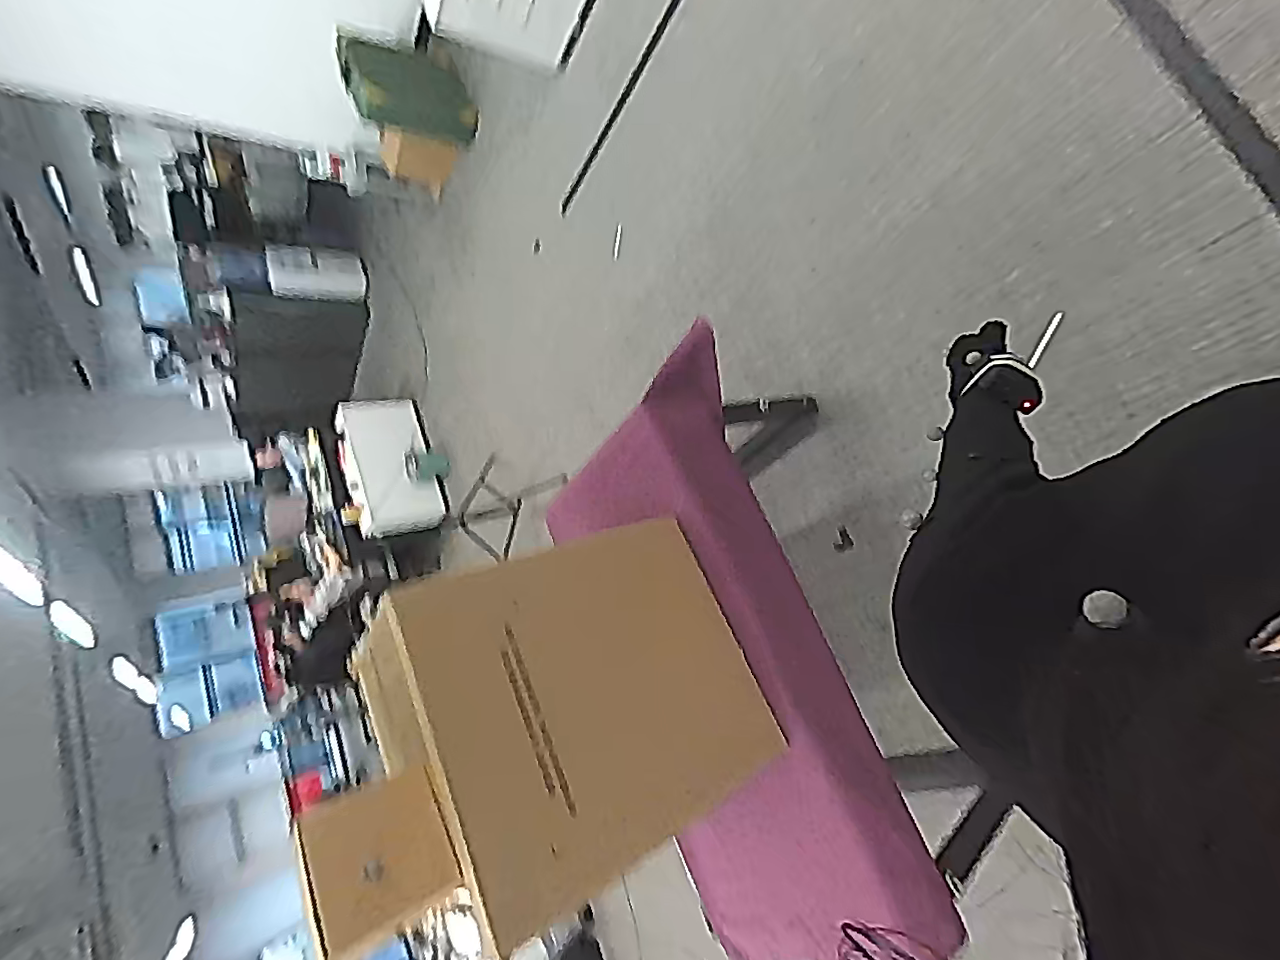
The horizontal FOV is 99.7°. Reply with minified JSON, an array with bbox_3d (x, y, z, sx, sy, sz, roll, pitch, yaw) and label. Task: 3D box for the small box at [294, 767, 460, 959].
[{"bbox_3d":[-0.374,0.552,0.767,0.179,0.176,0.168,53,133,28],"label":"small box"}]
